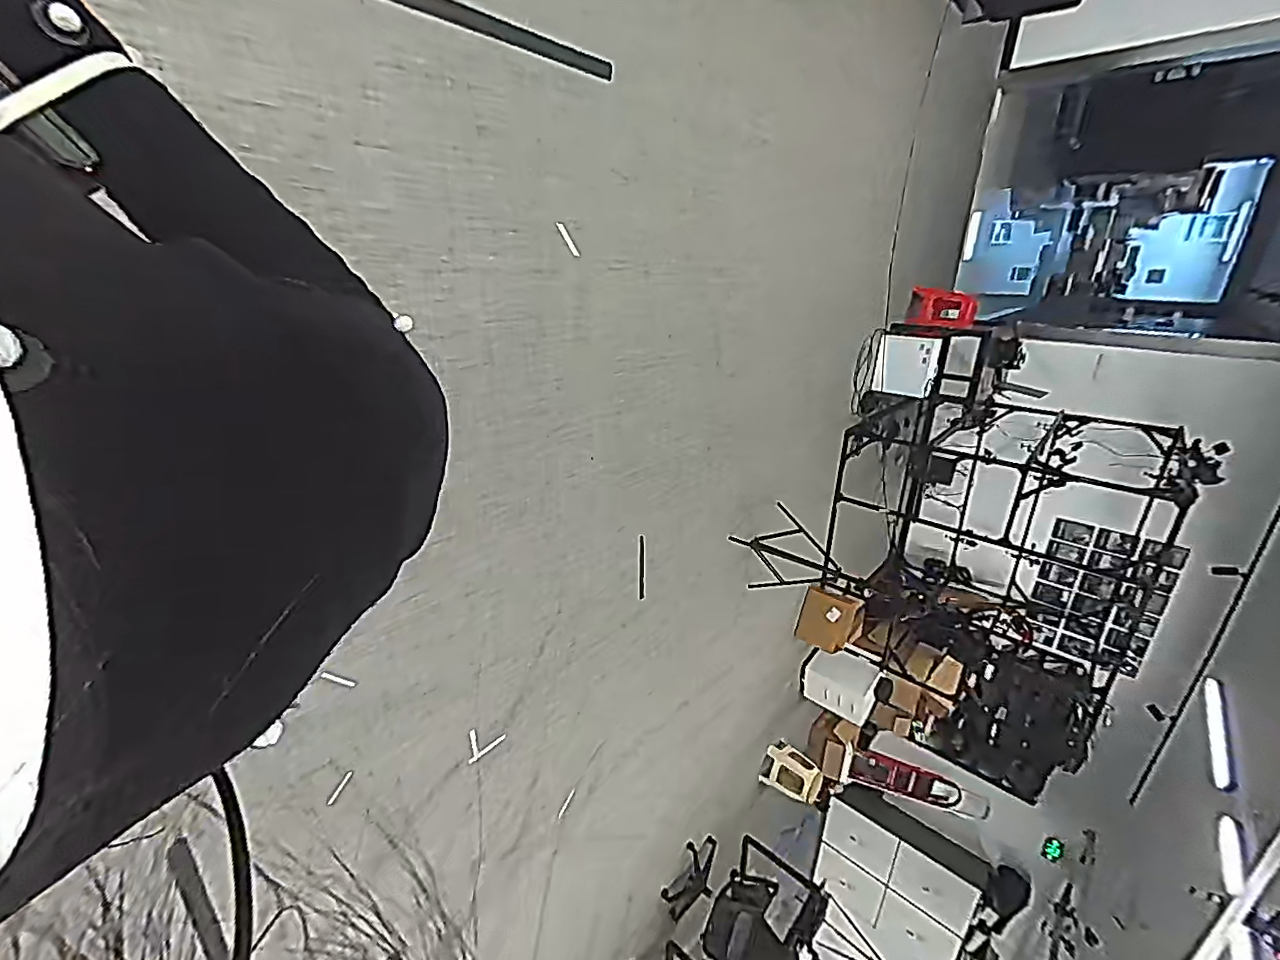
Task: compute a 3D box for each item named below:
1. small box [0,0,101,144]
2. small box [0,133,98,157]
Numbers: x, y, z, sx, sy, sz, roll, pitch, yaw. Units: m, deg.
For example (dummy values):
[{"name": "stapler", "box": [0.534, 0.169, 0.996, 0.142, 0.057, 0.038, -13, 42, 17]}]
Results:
[{"name": "small box", "box": [-0.899, -0.590, 0.752, 0.168, 0.176, 0.179, -21, 122, -44]}, {"name": "small box", "box": [-1.019, -0.622, 0.858, 0.179, 0.176, 0.168, -24, 123, -44]}]
